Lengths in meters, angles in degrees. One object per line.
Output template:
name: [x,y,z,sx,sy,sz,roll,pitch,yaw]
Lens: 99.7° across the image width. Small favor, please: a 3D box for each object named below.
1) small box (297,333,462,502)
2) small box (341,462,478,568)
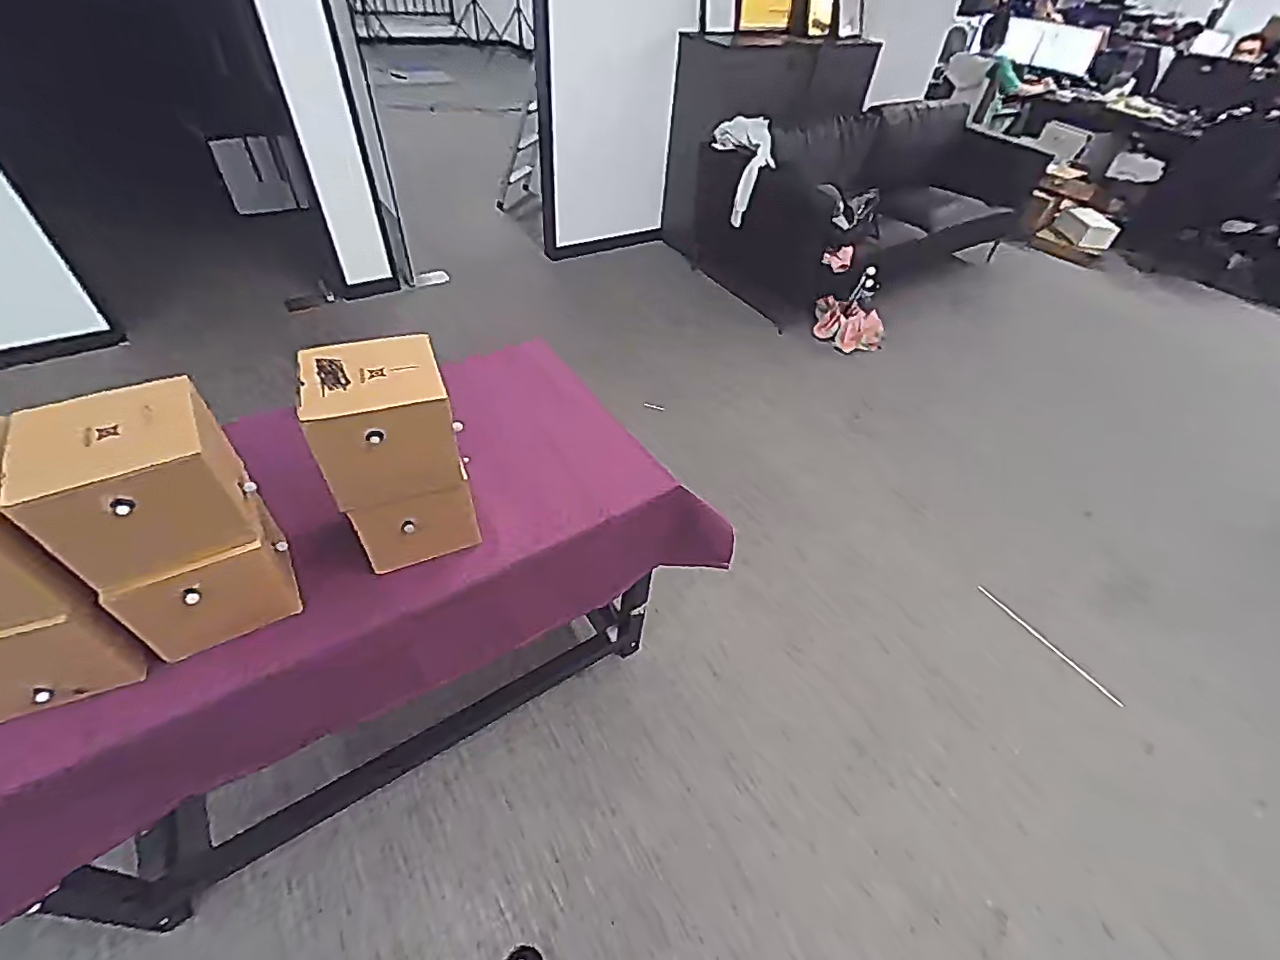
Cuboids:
small box: [-0.370,-0.089,0.784,0.179,0.176,0.168,-13,49,-21]
small box: [-0.387,0.021,0.905,0.179,0.176,0.168,-16,51,-21]
